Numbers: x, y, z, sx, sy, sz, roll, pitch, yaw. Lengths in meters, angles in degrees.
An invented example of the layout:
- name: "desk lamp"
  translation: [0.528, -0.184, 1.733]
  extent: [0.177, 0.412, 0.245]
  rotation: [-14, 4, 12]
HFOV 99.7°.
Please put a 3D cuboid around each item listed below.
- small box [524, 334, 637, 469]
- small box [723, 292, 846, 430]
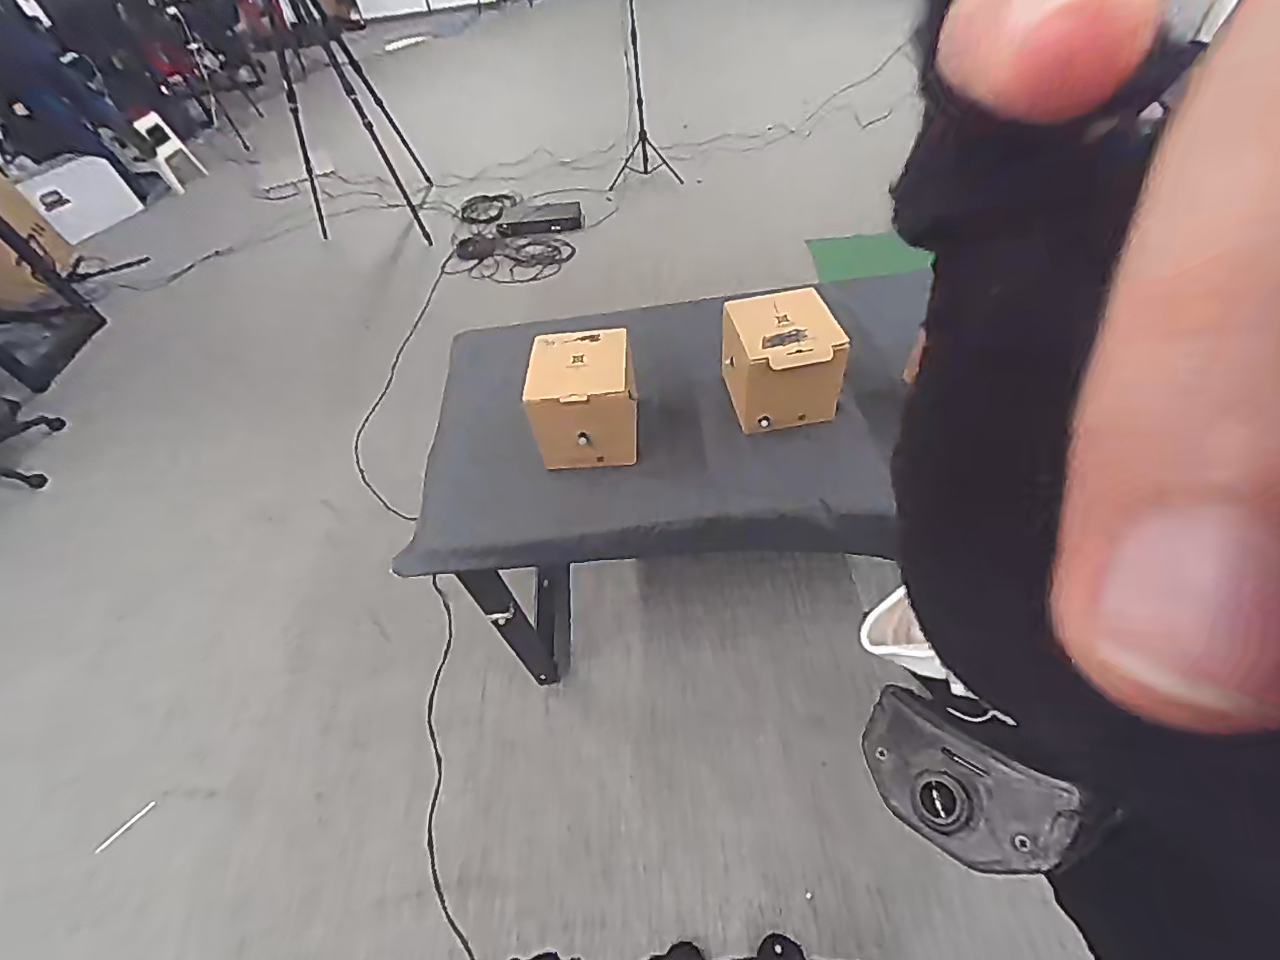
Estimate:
- name: "small box"
  translation: [-0.094, -0.132, 0.961]
  extent: [0.168, 0.176, 0.179]
  rotation: [-4, 50, 5]
- name: "small box"
  translation: [0.249, -0.205, 0.972]
  extent: [0.168, 0.176, 0.179]
  rotation: [-10, 49, 0]
